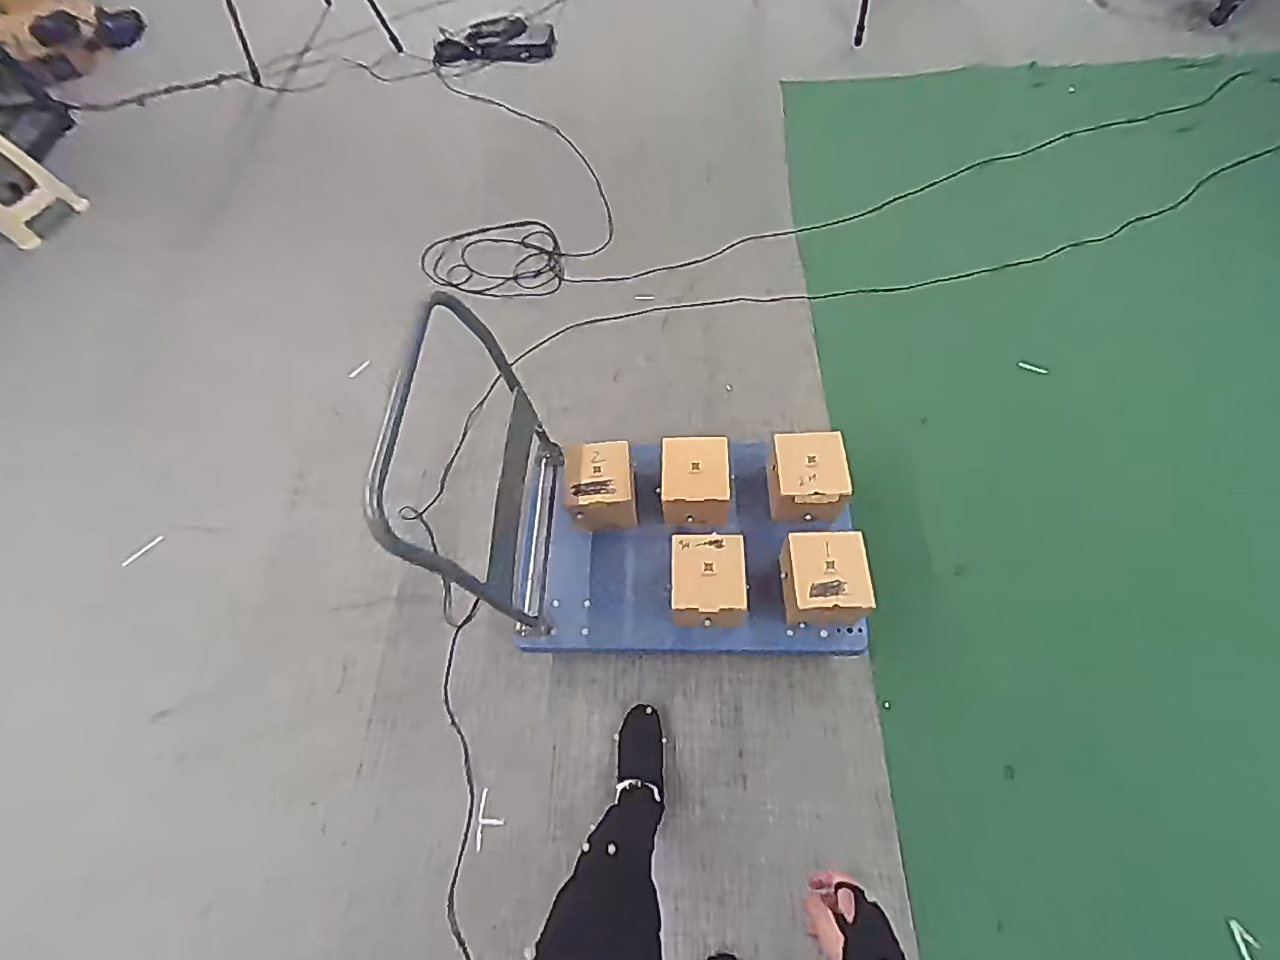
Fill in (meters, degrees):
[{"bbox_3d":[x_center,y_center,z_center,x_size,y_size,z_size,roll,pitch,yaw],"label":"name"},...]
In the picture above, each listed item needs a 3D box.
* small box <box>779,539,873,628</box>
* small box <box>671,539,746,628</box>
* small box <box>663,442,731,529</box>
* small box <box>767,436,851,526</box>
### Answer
[{"bbox_3d":[0.429,0.250,1.277,0.168,0.176,0.179,-1,62,4],"label":"small box"},{"bbox_3d":[0.161,0.250,1.283,0.168,0.176,0.179,0,63,5],"label":"small box"},{"bbox_3d":[0.145,0.017,1.406,0.168,0.176,0.179,-1,64,5],"label":"small box"},{"bbox_3d":[0.423,0.005,1.383,0.168,0.176,0.179,-2,63,5],"label":"small box"}]
